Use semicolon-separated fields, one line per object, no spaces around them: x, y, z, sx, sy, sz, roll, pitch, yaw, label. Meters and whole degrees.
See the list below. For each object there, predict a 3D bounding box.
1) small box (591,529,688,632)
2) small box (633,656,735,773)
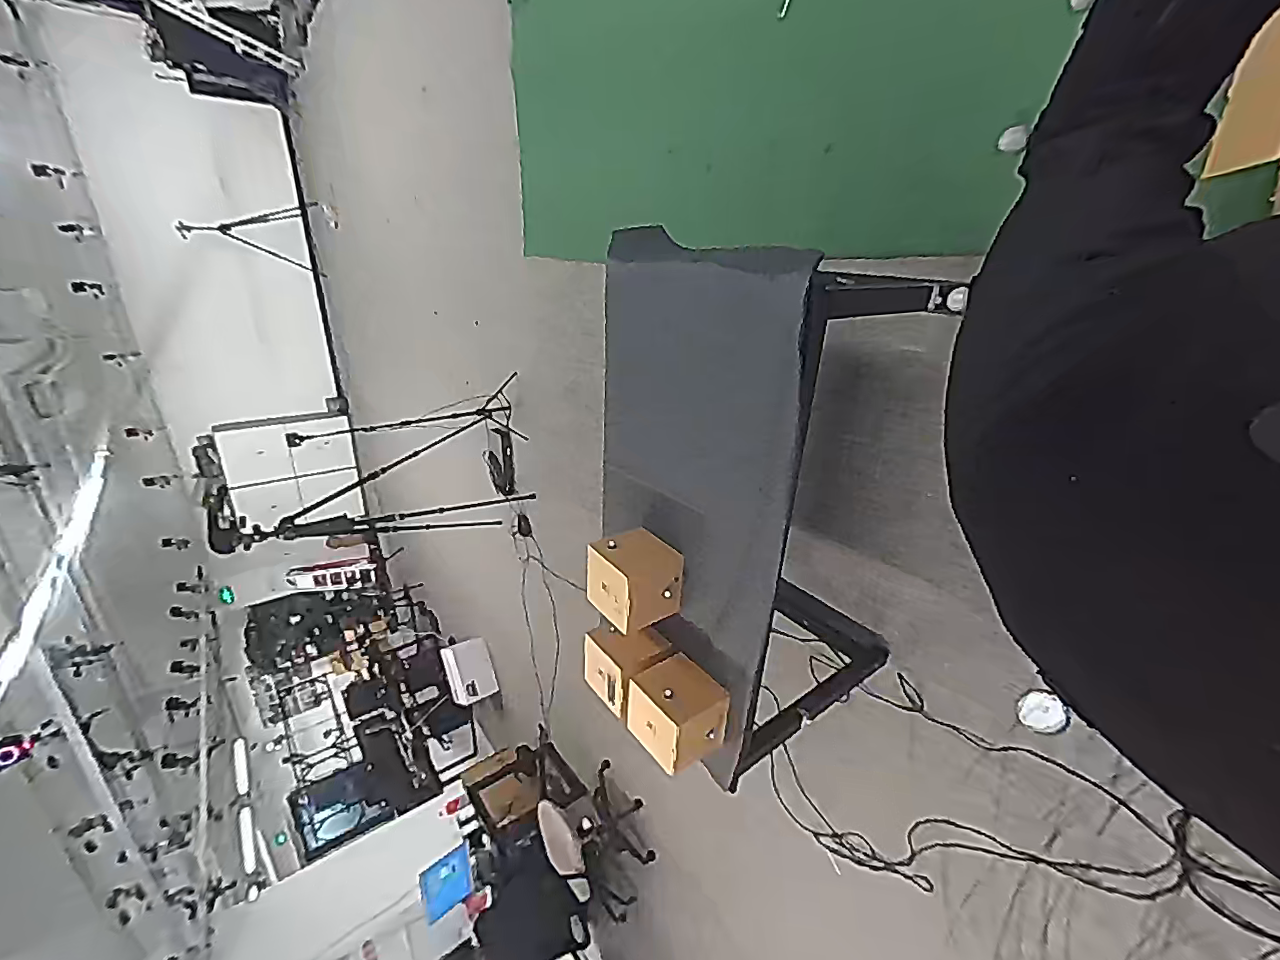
-0.006;0.238;1.339;0.179;0.176;0.168;30;126;45;small box
0.102;0.553;1.309;0.179;0.176;0.168;29;125;45;small box
